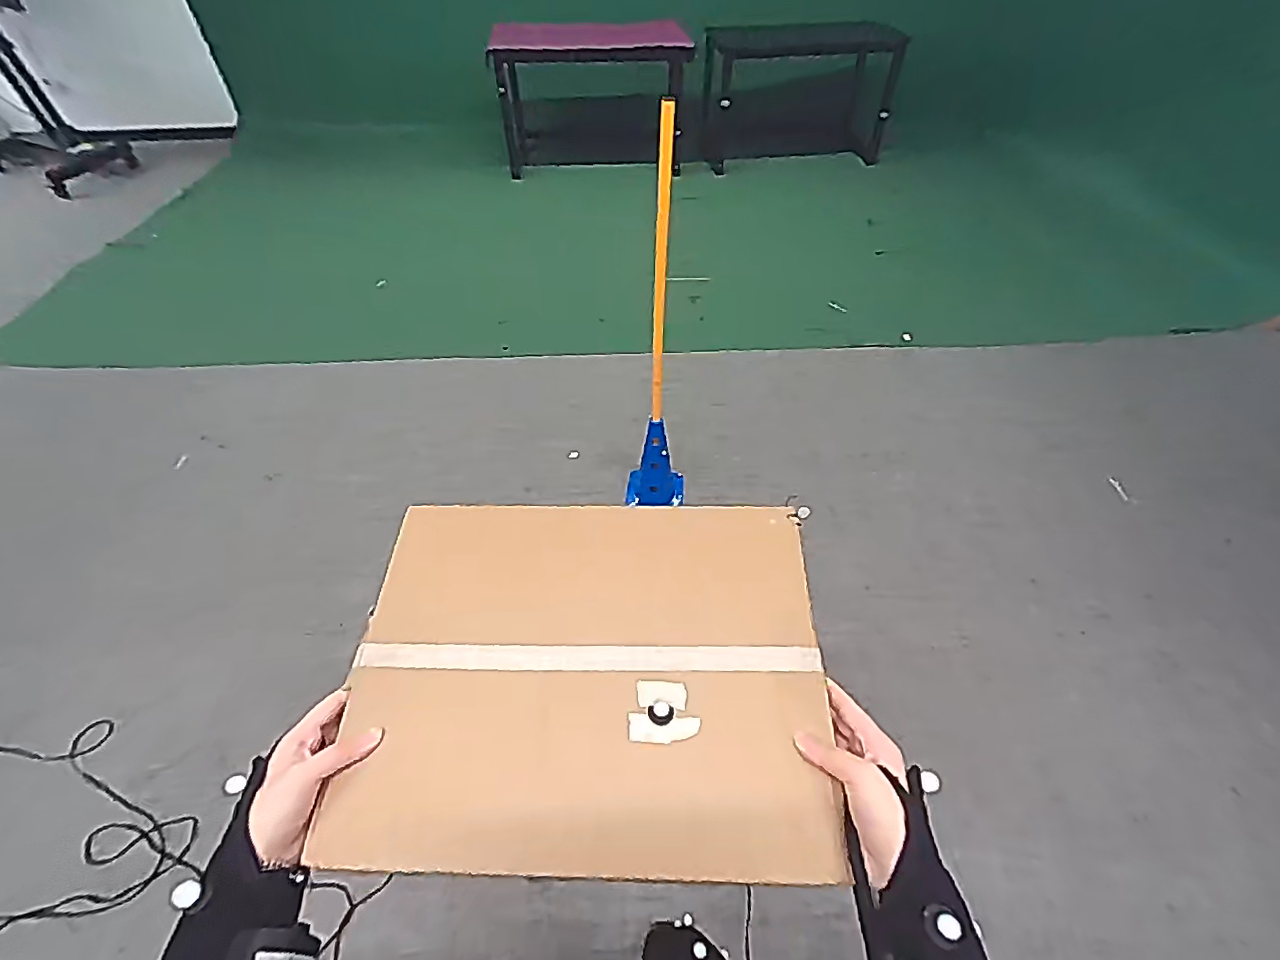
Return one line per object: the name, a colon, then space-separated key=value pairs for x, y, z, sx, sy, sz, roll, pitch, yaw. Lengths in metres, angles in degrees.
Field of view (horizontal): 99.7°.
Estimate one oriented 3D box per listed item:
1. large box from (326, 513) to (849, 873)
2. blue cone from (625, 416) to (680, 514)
large box: x=-0.039 y=0.247 z=0.610 sx=0.408 sy=0.320 sz=0.320 roll=1 pitch=56 yaw=1
blue cone: x=0.046 y=-0.057 z=1.825 sx=0.193 sy=0.380 sz=0.192 roll=5 pitch=48 yaw=5
